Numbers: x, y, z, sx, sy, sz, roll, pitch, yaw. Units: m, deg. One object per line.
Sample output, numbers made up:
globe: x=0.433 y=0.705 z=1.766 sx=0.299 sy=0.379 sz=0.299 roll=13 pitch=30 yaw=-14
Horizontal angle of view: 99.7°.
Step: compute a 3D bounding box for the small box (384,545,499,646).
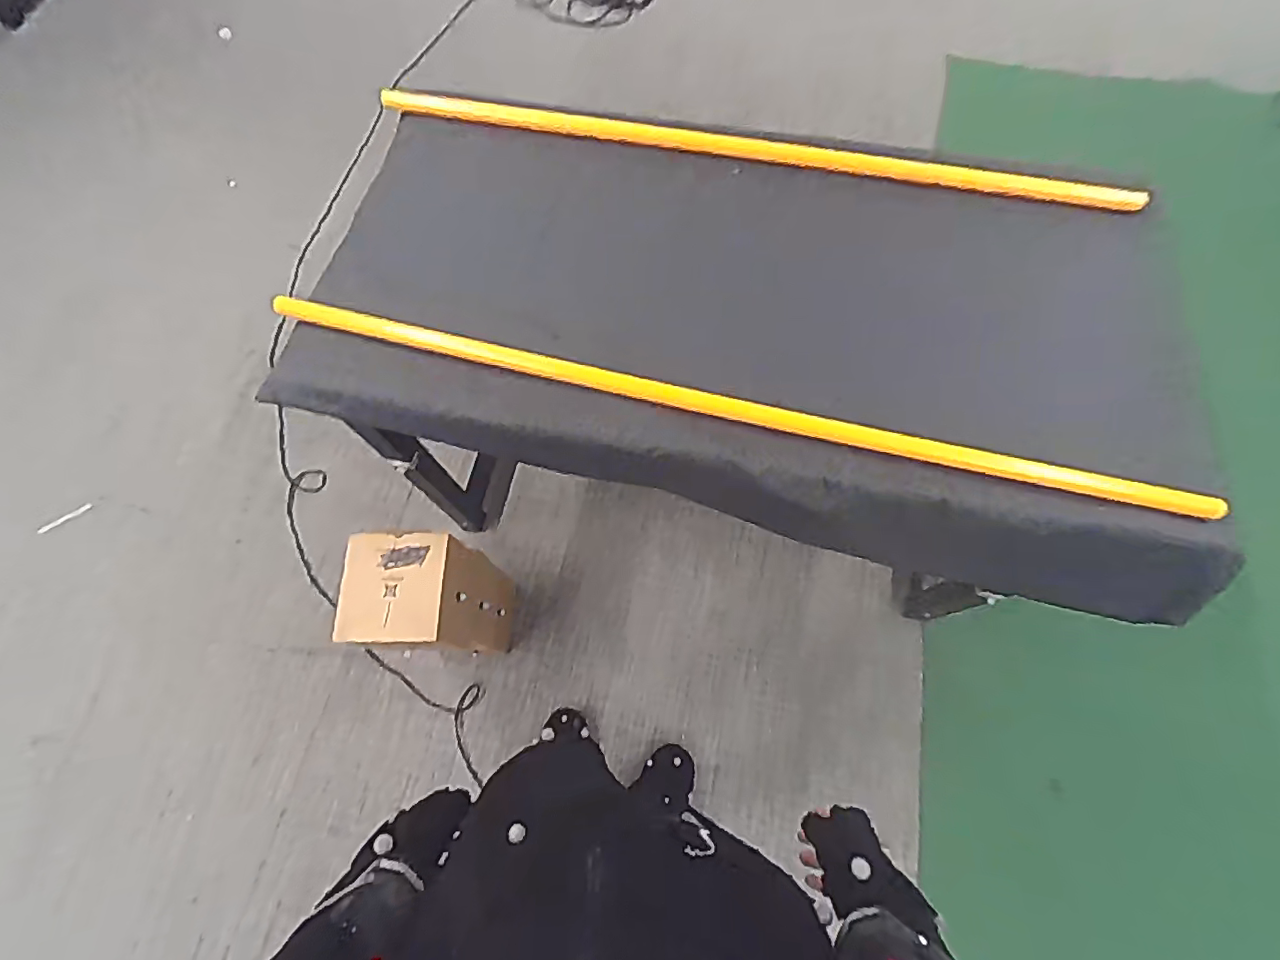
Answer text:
small box: x=-0.394 y=0.242 z=1.104 sx=0.168 sy=0.176 sz=0.179 roll=-4 pitch=68 yaw=1
